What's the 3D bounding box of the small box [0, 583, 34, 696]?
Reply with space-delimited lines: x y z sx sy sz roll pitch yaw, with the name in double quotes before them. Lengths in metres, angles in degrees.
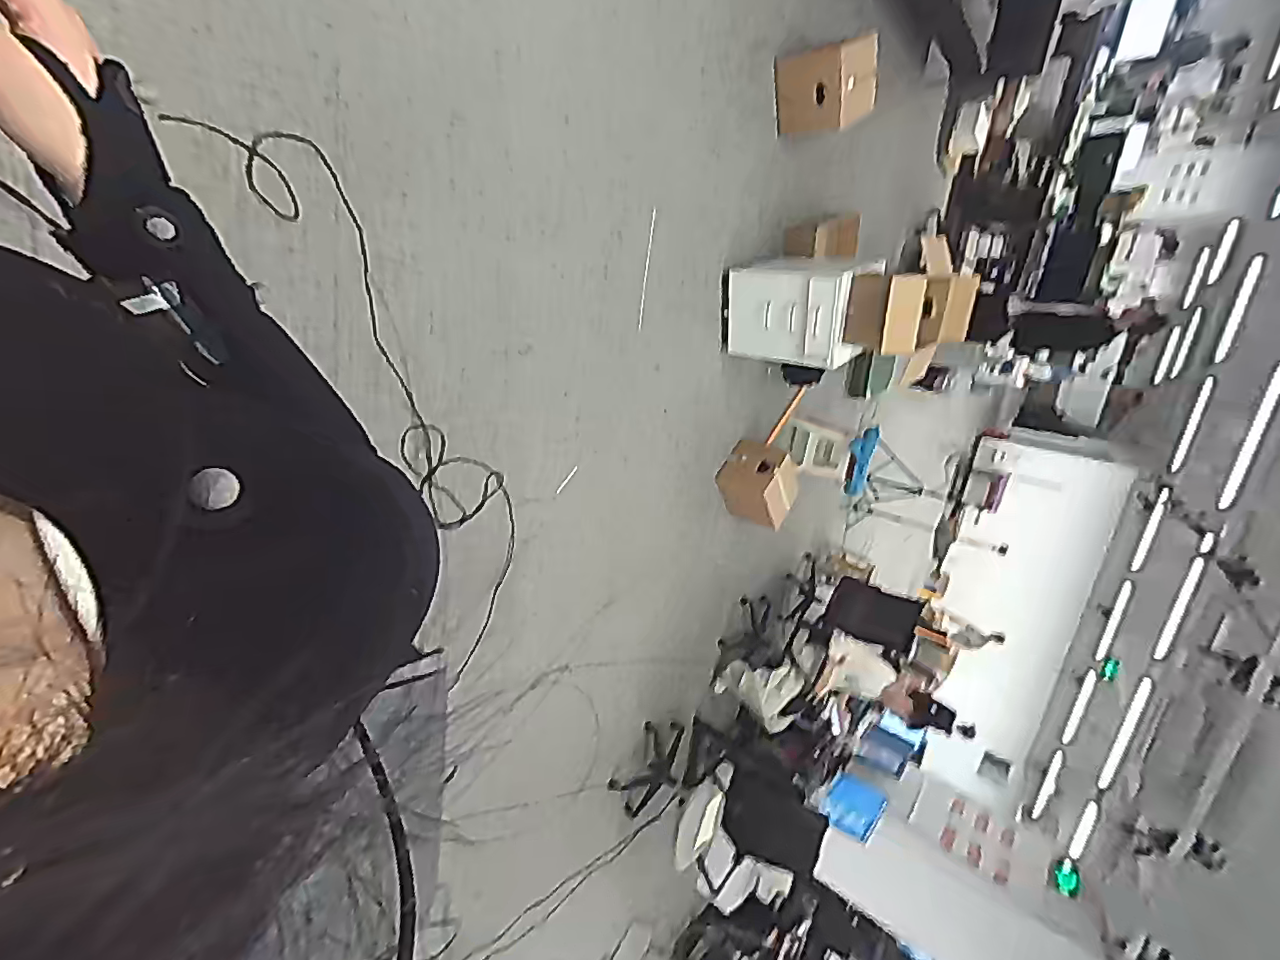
"small box" -1.236 0.284 0.952 0.179 0.176 0.168 24 87 -56
